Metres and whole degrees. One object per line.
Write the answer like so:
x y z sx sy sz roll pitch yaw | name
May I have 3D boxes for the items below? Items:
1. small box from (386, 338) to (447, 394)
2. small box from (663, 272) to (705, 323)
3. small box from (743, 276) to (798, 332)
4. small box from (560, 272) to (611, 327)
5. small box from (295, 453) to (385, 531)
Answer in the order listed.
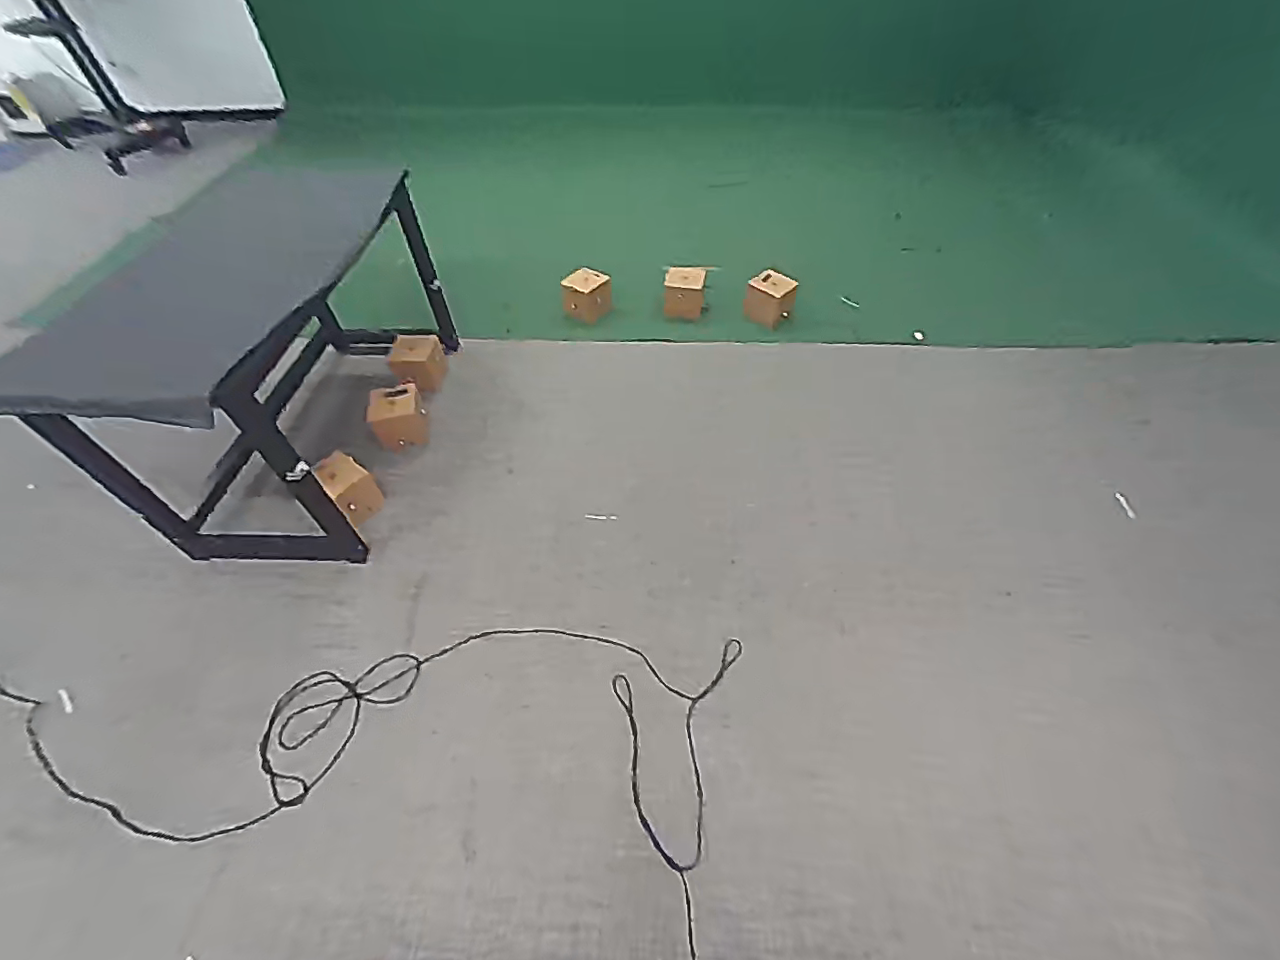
-0.925 -0.475 2.259 0.168 0.176 0.179 1 49 1 | small box
0.208 -0.865 2.568 0.179 0.176 0.168 9 52 7 | small box
0.602 -0.818 2.518 0.179 0.176 0.168 37 59 27 | small box
-0.251 -0.858 2.573 0.168 0.176 0.179 29 57 24 | small box
-1.001 0.048 1.820 0.179 0.176 0.168 28 56 24 | small box
